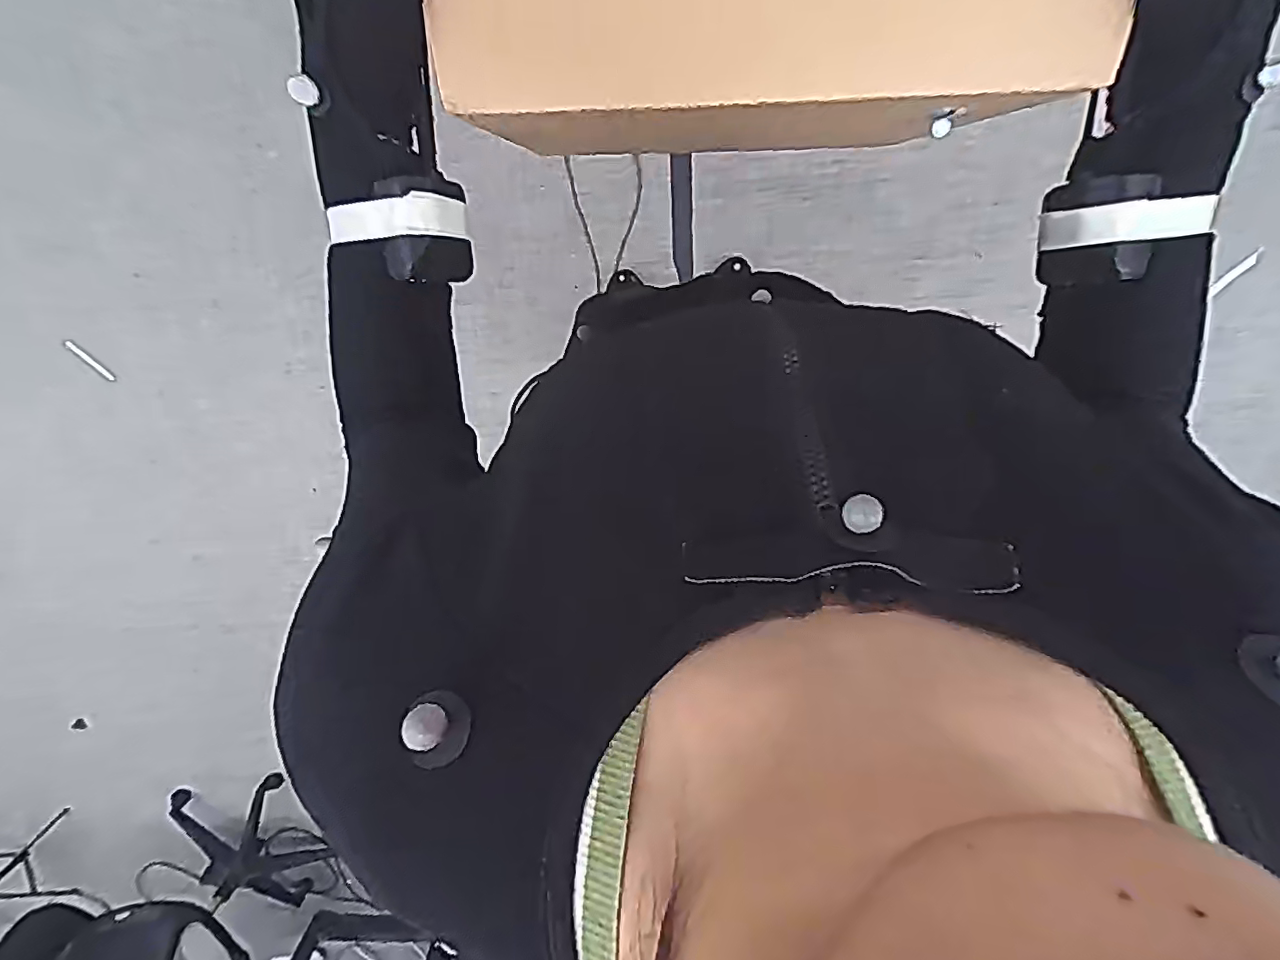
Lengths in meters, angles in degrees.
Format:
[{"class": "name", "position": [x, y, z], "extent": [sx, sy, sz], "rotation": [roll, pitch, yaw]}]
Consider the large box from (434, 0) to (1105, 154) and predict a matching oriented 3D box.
[{"class": "large box", "position": [0.074, -0.439, 0.404], "extent": [0.408, 0.320, 0.320], "rotation": [-1, 116, 1]}]
